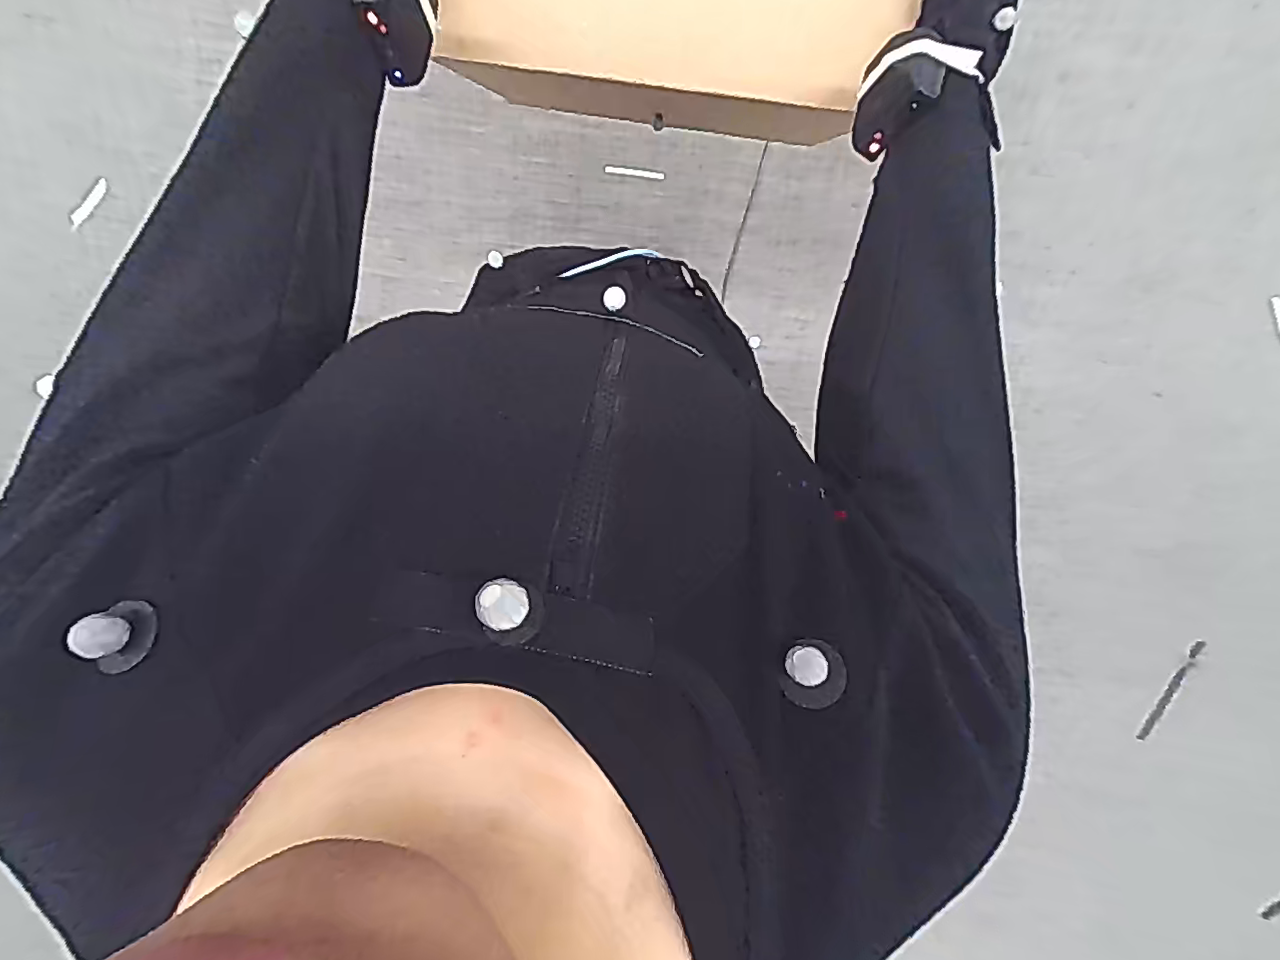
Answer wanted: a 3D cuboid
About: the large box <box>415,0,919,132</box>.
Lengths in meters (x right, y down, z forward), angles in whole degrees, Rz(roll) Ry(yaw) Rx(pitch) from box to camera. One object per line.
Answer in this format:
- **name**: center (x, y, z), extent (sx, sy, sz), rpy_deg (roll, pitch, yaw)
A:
- **large box**: center (0.040, -0.539, 0.506), extent (0.408, 0.320, 0.320), rpy_deg (8, 118, 0)
